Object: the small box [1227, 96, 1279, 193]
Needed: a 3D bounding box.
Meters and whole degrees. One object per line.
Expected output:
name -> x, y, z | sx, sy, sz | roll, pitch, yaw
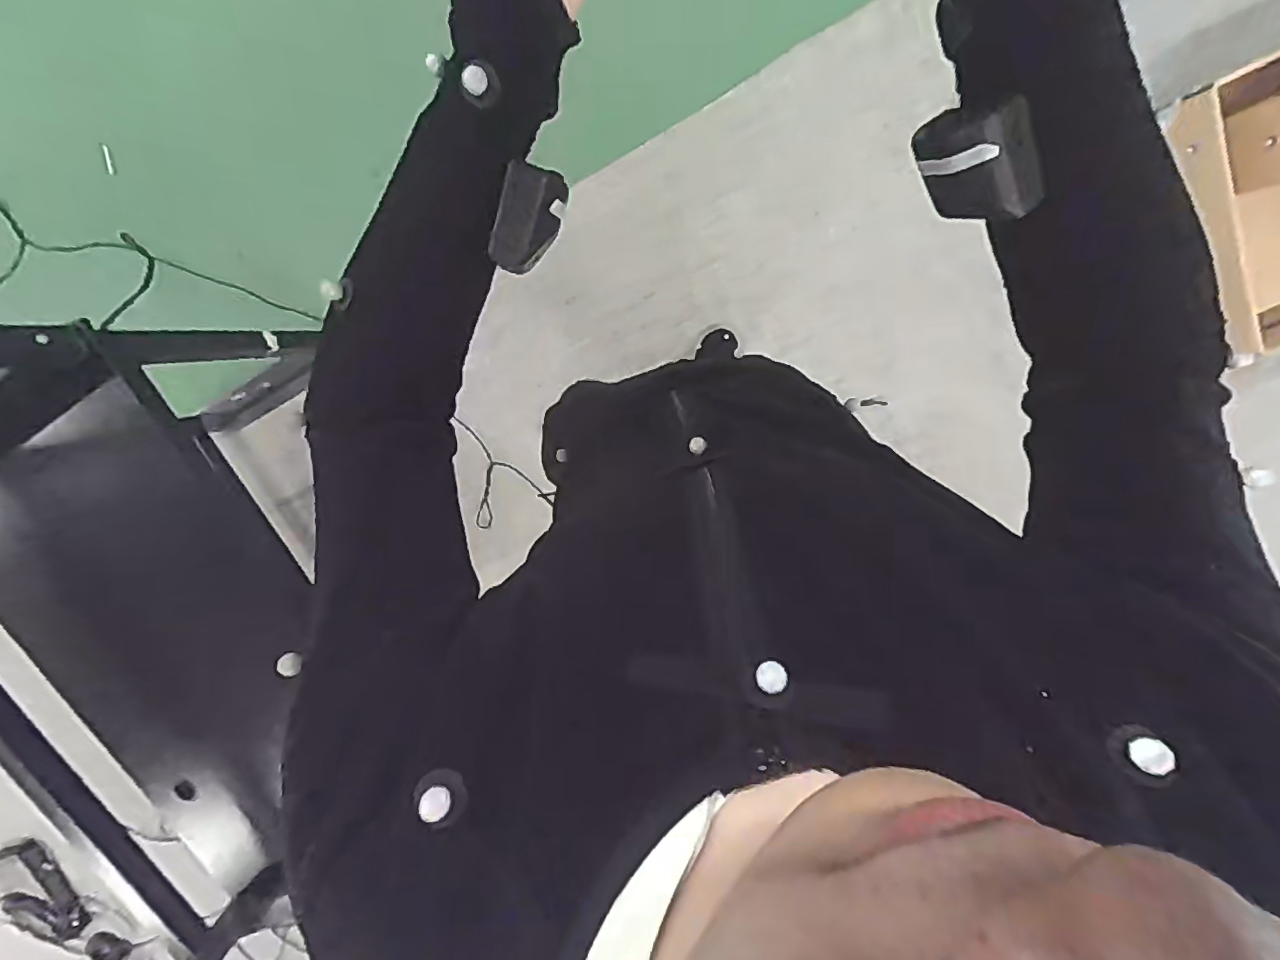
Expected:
small box -> 1.433, -0.752, 1.161 | 0.168, 0.176, 0.179 | -24, 104, 12
